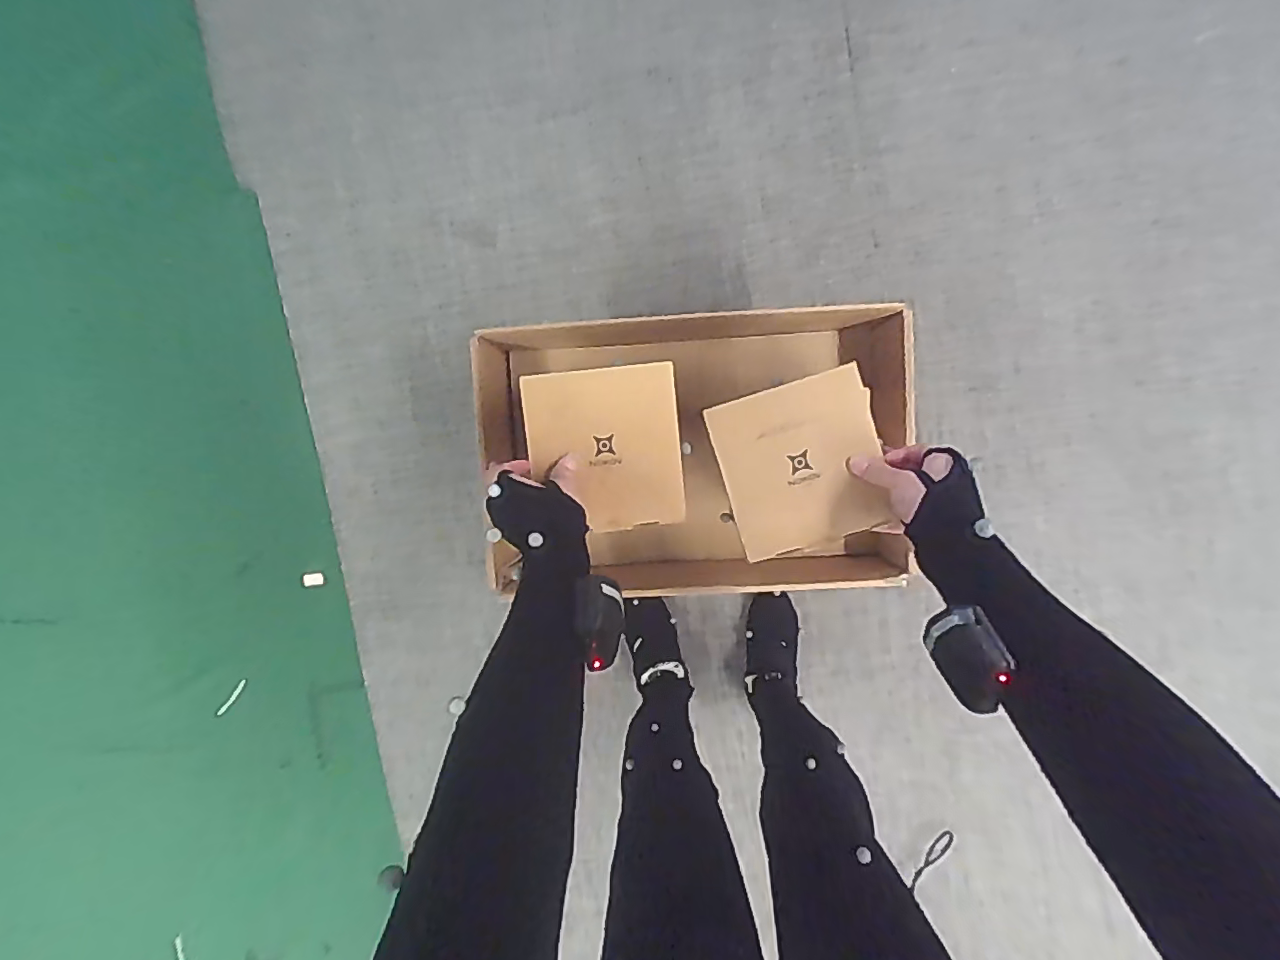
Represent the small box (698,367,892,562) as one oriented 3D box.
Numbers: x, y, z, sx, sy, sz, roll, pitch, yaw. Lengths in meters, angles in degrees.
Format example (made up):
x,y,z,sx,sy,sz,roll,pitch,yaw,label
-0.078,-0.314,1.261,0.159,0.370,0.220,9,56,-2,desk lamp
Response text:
x,y,z,sx,sy,sz,roll,pitch,yaw,label
0.174,-0.021,0.649,0.168,0.176,0.179,-17,92,8,small box
